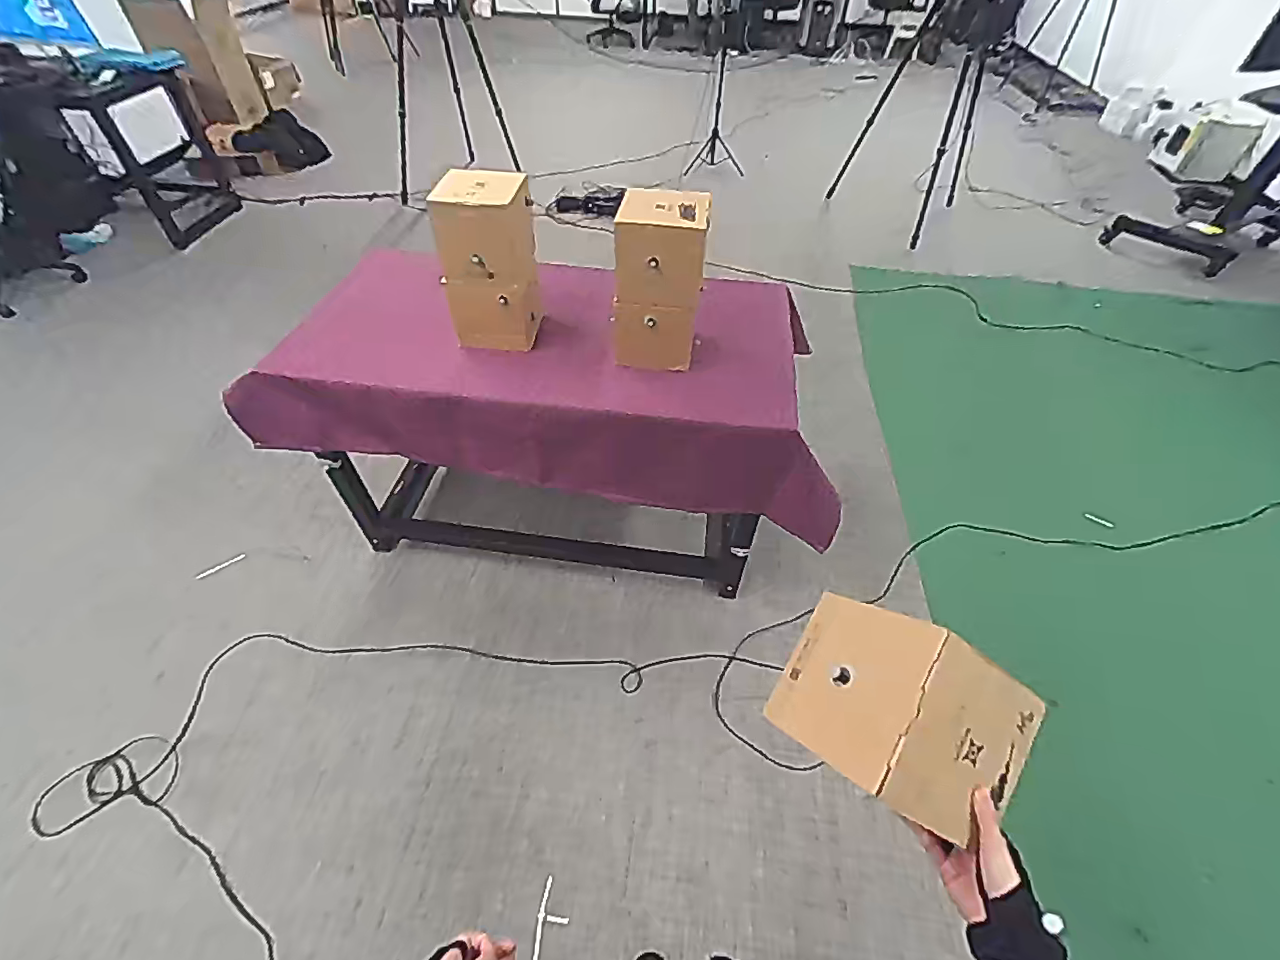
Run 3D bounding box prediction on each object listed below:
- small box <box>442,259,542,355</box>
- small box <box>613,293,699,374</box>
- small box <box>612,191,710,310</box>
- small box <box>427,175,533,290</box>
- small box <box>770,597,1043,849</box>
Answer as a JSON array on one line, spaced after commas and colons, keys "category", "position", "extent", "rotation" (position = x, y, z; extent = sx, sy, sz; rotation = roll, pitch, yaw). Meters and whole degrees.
[{"category": "small box", "position": [-0.340, -0.413, 1.278], "extent": [0.179, 0.176, 0.168], "rotation": [4, 48, 1]}, {"category": "small box", "position": [0.038, -0.362, 1.239], "extent": [0.179, 0.176, 0.168], "rotation": [7, 49, 4]}, {"category": "small box", "position": [0.044, -0.469, 1.115], "extent": [0.179, 0.176, 0.168], "rotation": [6, 49, 6]}, {"category": "small box", "position": [-0.331, -0.531, 1.162], "extent": [0.168, 0.176, 0.179], "rotation": [4, 48, 2]}, {"category": "small box", "position": [0.275, 0.243, 0.585], "extent": [0.179, 0.176, 0.168], "rotation": [35, 79, -19]}]
